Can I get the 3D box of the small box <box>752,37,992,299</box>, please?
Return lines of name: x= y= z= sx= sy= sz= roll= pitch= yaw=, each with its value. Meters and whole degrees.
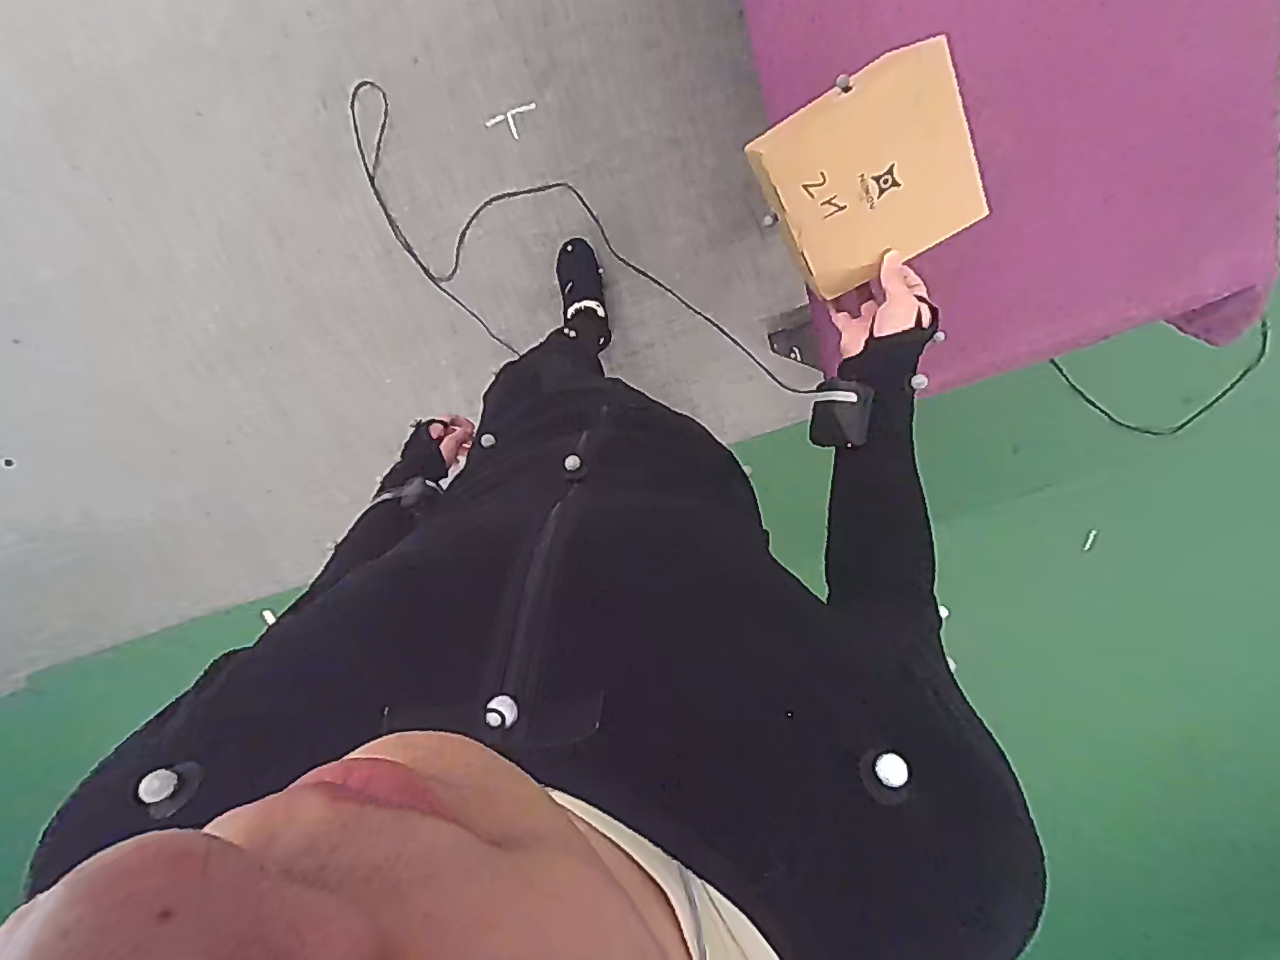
small box: x=0.239 y=-0.334 z=0.593 sx=0.179 sy=0.176 sz=0.168 roll=-25 pitch=117 yaw=20
